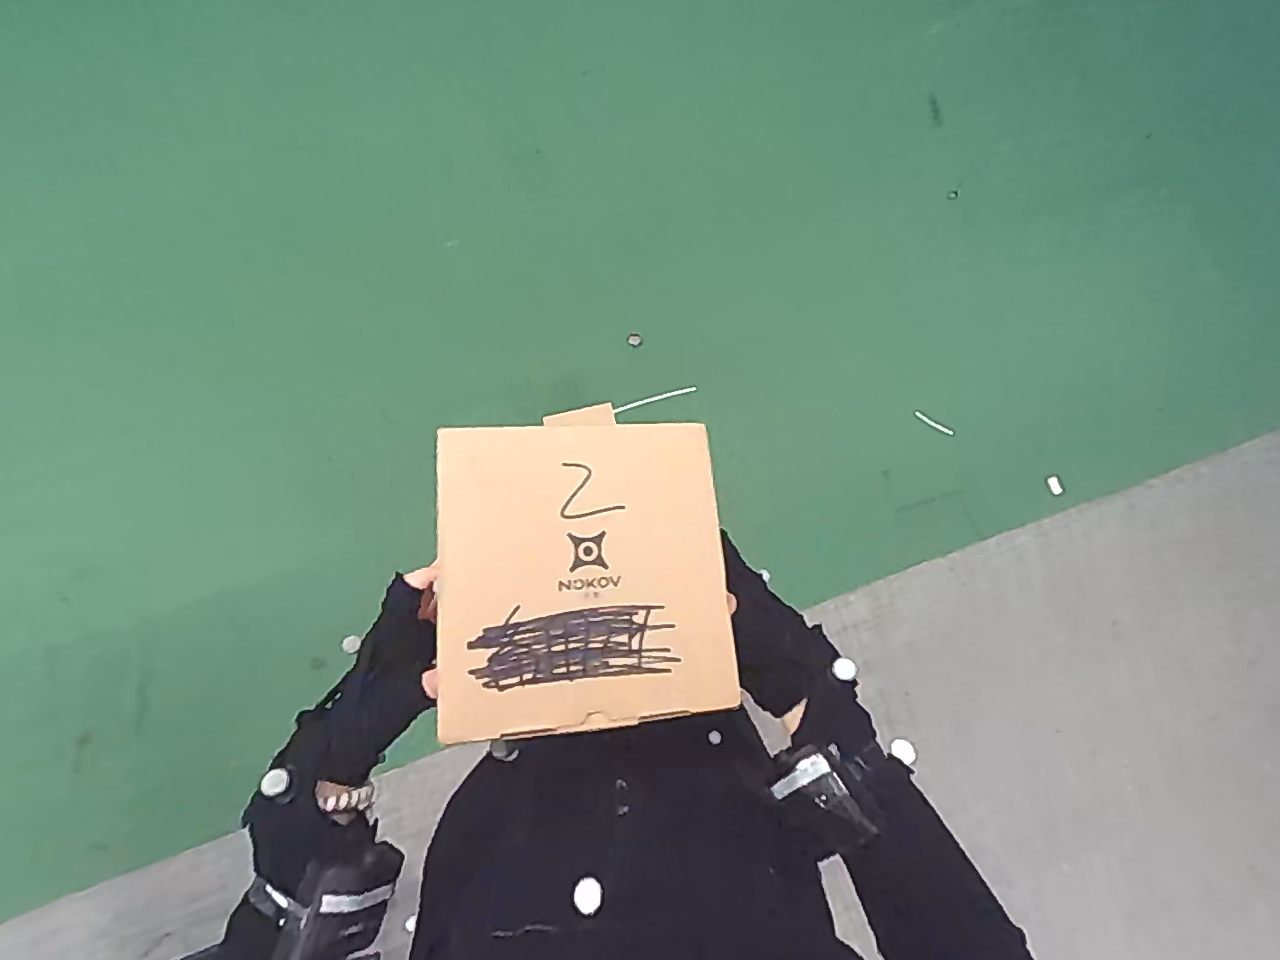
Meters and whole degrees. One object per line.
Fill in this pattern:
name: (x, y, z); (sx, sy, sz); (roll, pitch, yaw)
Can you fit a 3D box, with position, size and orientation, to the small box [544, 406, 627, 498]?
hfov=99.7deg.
small box: (-0.131, -0.060, 1.332); (0.168, 0.176, 0.179); (-14, 80, -7)
